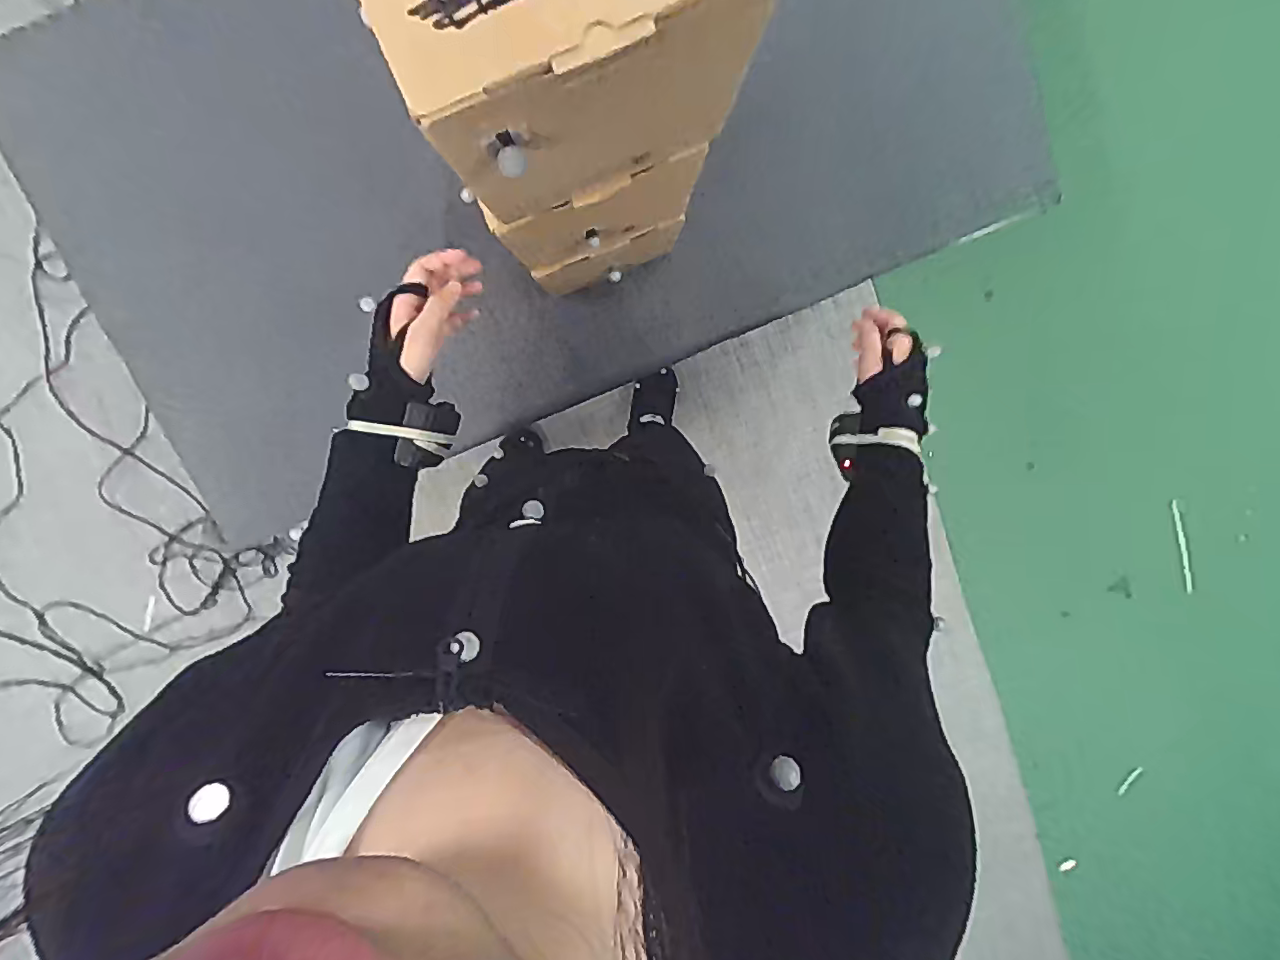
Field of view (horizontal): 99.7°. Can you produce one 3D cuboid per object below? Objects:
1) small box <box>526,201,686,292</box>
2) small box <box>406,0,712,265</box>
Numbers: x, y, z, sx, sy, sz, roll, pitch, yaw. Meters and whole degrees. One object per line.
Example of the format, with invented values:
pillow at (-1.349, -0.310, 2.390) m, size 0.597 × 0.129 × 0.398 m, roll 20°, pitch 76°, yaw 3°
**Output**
small box at (-0.062, -0.327, 0.594) m, size 0.168 × 0.176 × 0.179 m, roll -21°, pitch 101°, yaw 3°
small box at (-0.059, -0.298, 0.437) m, size 0.168 × 0.176 × 0.179 m, roll -21°, pitch 103°, yaw 2°
